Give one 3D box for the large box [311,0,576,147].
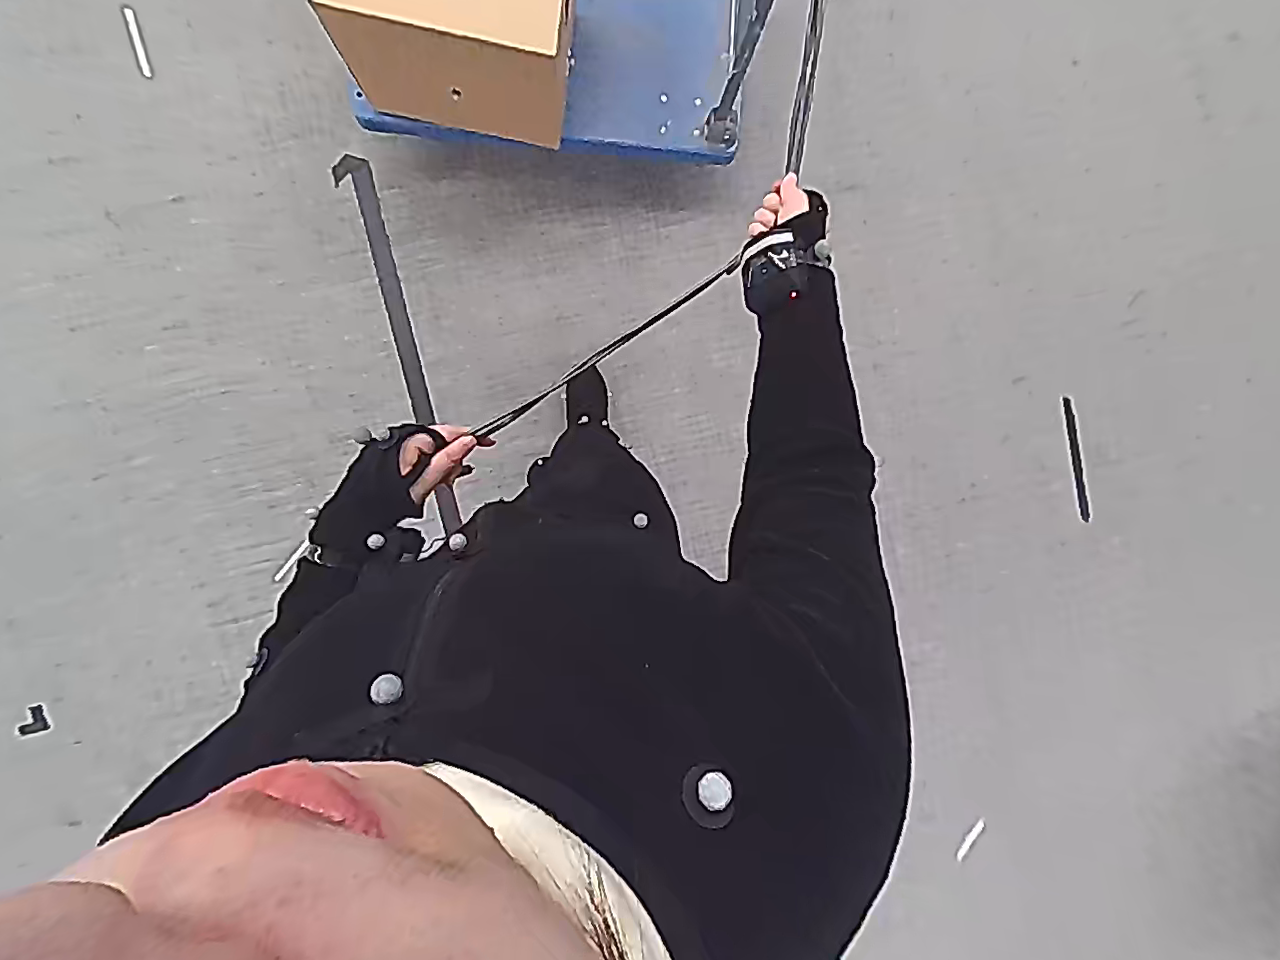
[{"bbox_3d":[-0.335,-0.900,1.034,0.408,0.320,0.320,7,93,-7],"label":"large box"}]
